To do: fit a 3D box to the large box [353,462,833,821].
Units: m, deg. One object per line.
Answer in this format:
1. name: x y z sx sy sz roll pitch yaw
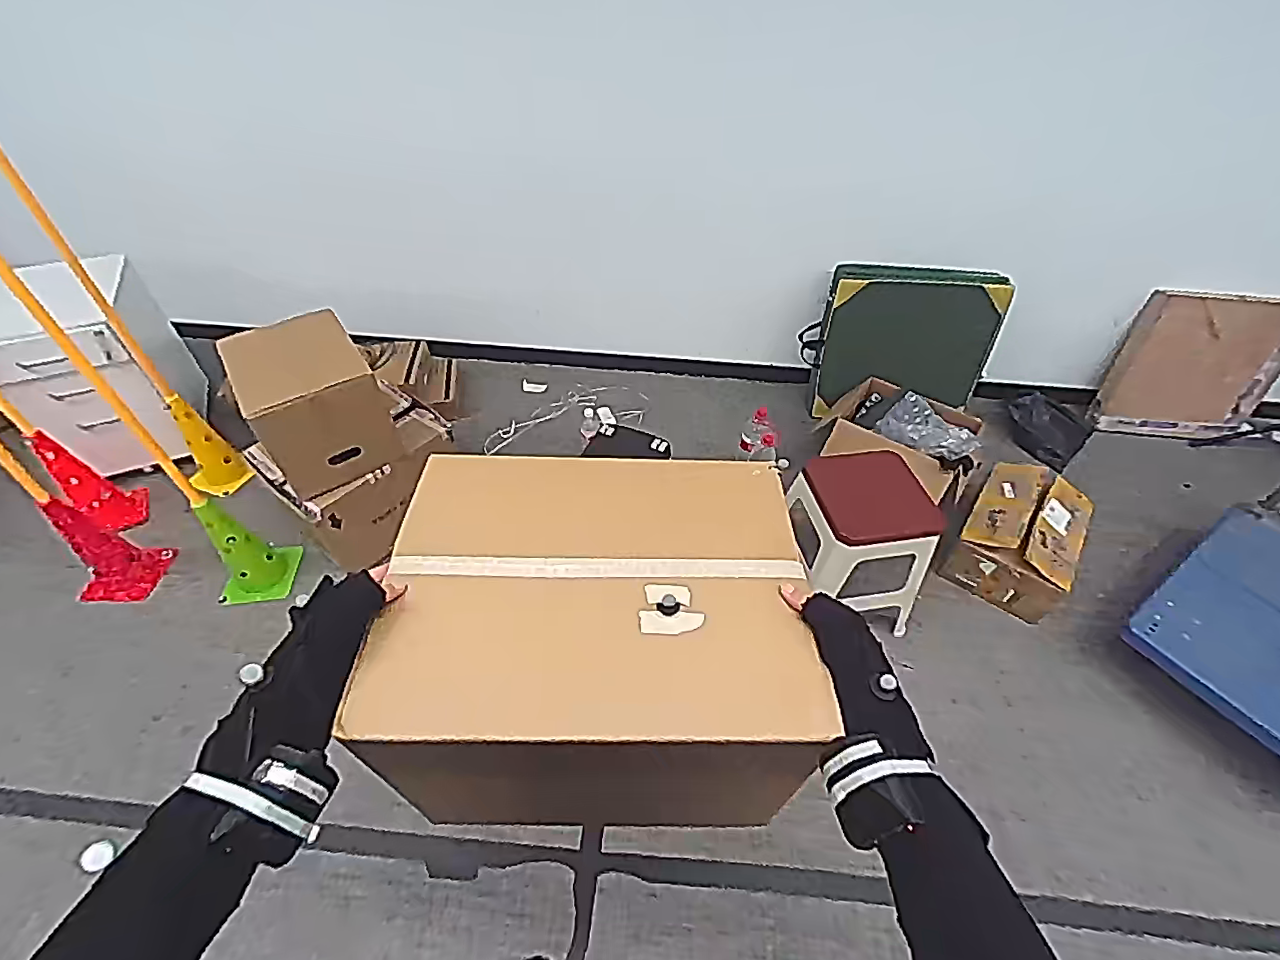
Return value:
1. large box: -0.045 0.195 0.649 0.408 0.320 0.320 2 47 -2
